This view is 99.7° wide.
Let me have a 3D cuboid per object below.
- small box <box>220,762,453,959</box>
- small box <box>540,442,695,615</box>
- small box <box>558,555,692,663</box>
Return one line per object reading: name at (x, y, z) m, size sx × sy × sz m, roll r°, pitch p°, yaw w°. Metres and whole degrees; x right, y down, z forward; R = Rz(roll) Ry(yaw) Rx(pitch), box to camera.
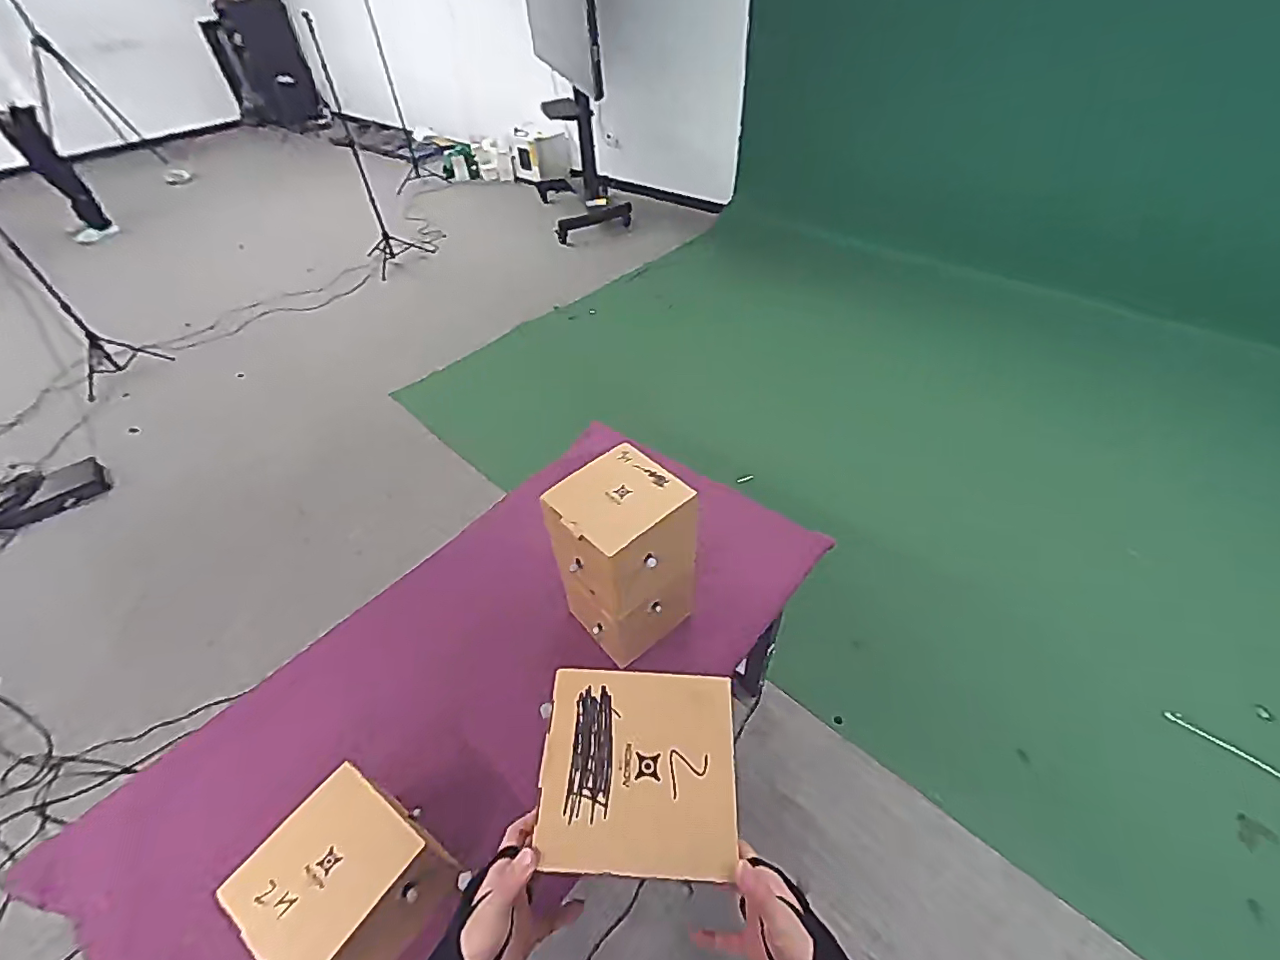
small box at (-0.362, 0.506, 0.684) m, size 0.168 × 0.176 × 0.179 m, roll 25°, pitch 53°, yaw 26°
small box at (-0.028, 0.078, 0.853) m, size 0.179 × 0.176 × 0.168 m, roll -35°, pitch 54°, yaw -25°
small box at (-0.020, 0.192, 0.970) m, size 0.179 × 0.176 × 0.168 m, roll -31°, pitch 52°, yaw -24°
